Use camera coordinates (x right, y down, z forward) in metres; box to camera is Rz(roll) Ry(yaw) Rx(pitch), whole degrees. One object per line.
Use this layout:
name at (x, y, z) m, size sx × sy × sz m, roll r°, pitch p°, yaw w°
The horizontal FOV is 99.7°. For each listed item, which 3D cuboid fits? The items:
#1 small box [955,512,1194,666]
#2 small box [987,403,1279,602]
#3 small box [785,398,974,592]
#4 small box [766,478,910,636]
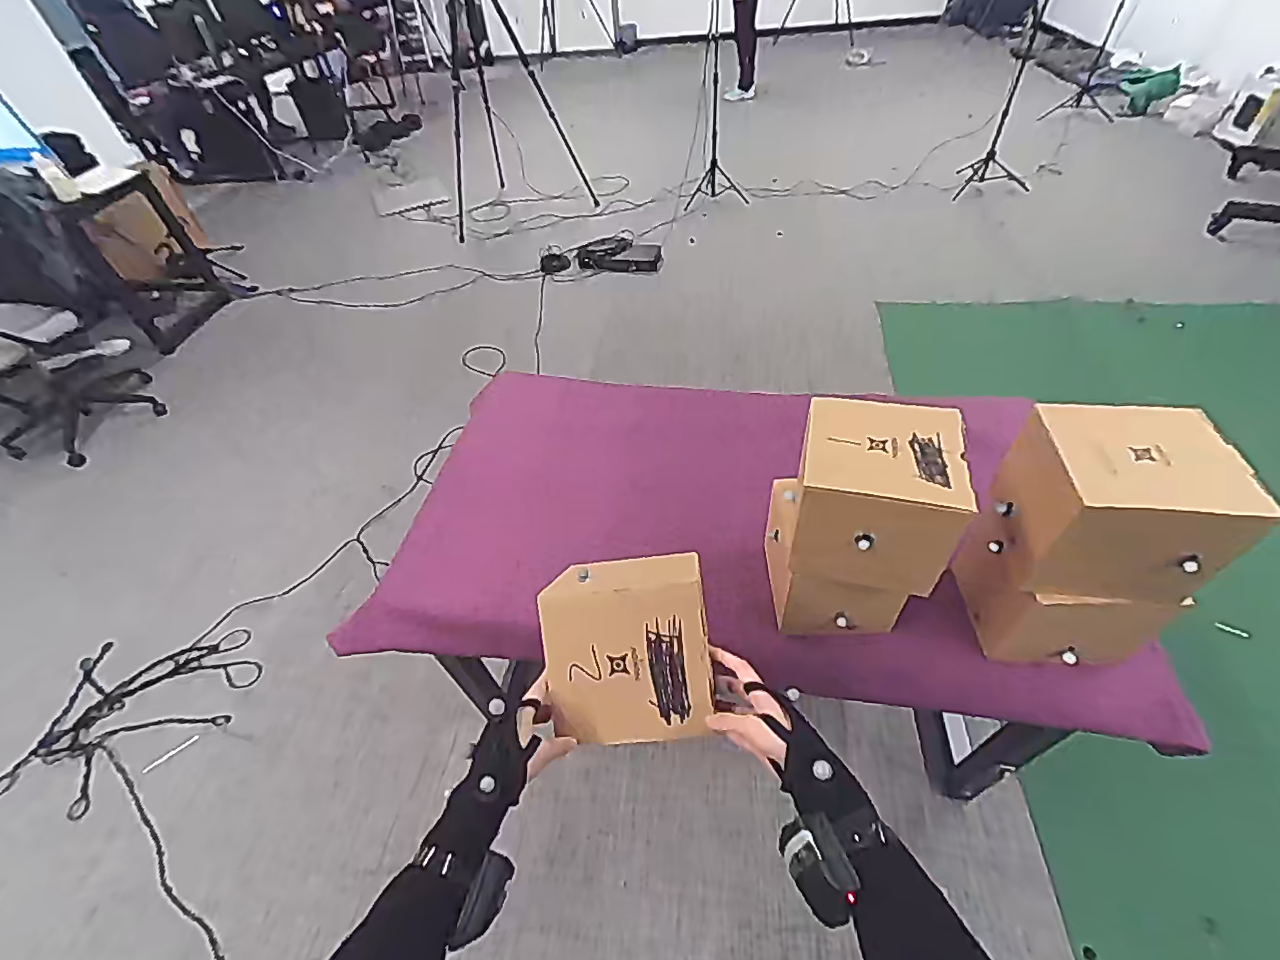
small box at (0.578, 0.146, 0.753) m, size 0.179 × 0.176 × 0.168 m, roll 0°, pitch 47°, yaw 7°
small box at (0.553, 0.028, 0.641) m, size 0.179 × 0.176 × 0.168 m, roll 4°, pitch 48°, yaw 11°
small box at (0.287, 0.020, 0.679) m, size 0.179 × 0.176 × 0.168 m, roll 8°, pitch 48°, yaw 15°
small box at (0.287, 0.115, 0.817) m, size 0.168 × 0.176 × 0.179 m, roll -2°, pitch 47°, yaw 5°
